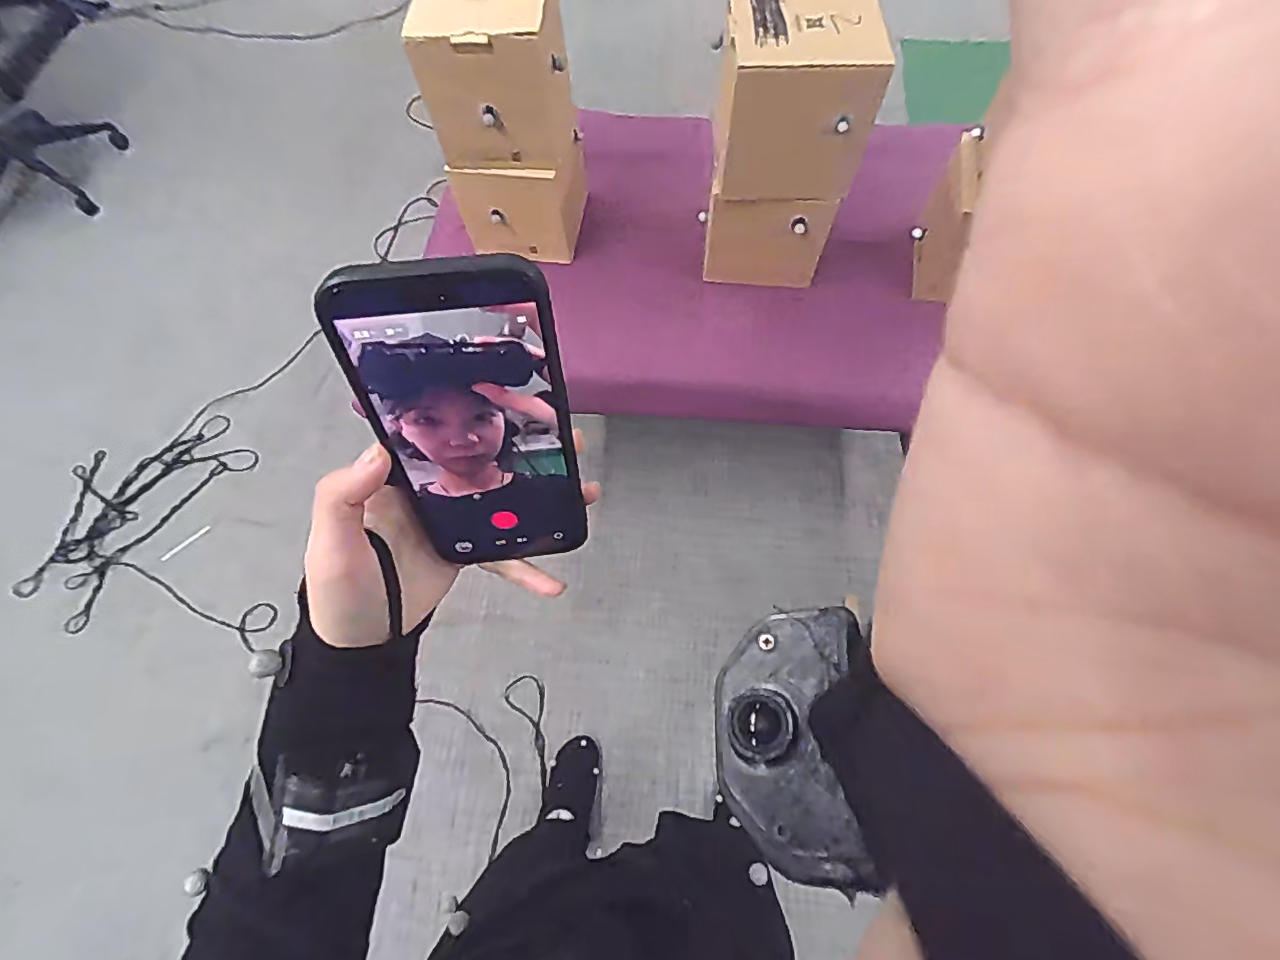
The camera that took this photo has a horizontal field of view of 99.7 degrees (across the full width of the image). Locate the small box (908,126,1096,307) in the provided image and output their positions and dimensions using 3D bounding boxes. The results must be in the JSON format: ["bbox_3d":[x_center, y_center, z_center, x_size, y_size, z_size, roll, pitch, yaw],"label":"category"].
[{"bbox_3d":[0.532,-0.386,0.813,0.179,0.176,0.168,12,68,7],"label":"small box"}]

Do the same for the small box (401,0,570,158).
[{"bbox_3d":[-0.191,-0.566,0.727,0.168,0.176,0.179,2,68,2],"label":"small box"}]

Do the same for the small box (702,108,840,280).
[{"bbox_3d":[0.196,-0.435,0.840,0.179,0.176,0.168,6,68,4],"label":"small box"}]

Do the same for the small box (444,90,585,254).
[{"bbox_3d":[-0.189,-0.495,0.876,0.168,0.176,0.179,7,68,4],"label":"small box"}]
